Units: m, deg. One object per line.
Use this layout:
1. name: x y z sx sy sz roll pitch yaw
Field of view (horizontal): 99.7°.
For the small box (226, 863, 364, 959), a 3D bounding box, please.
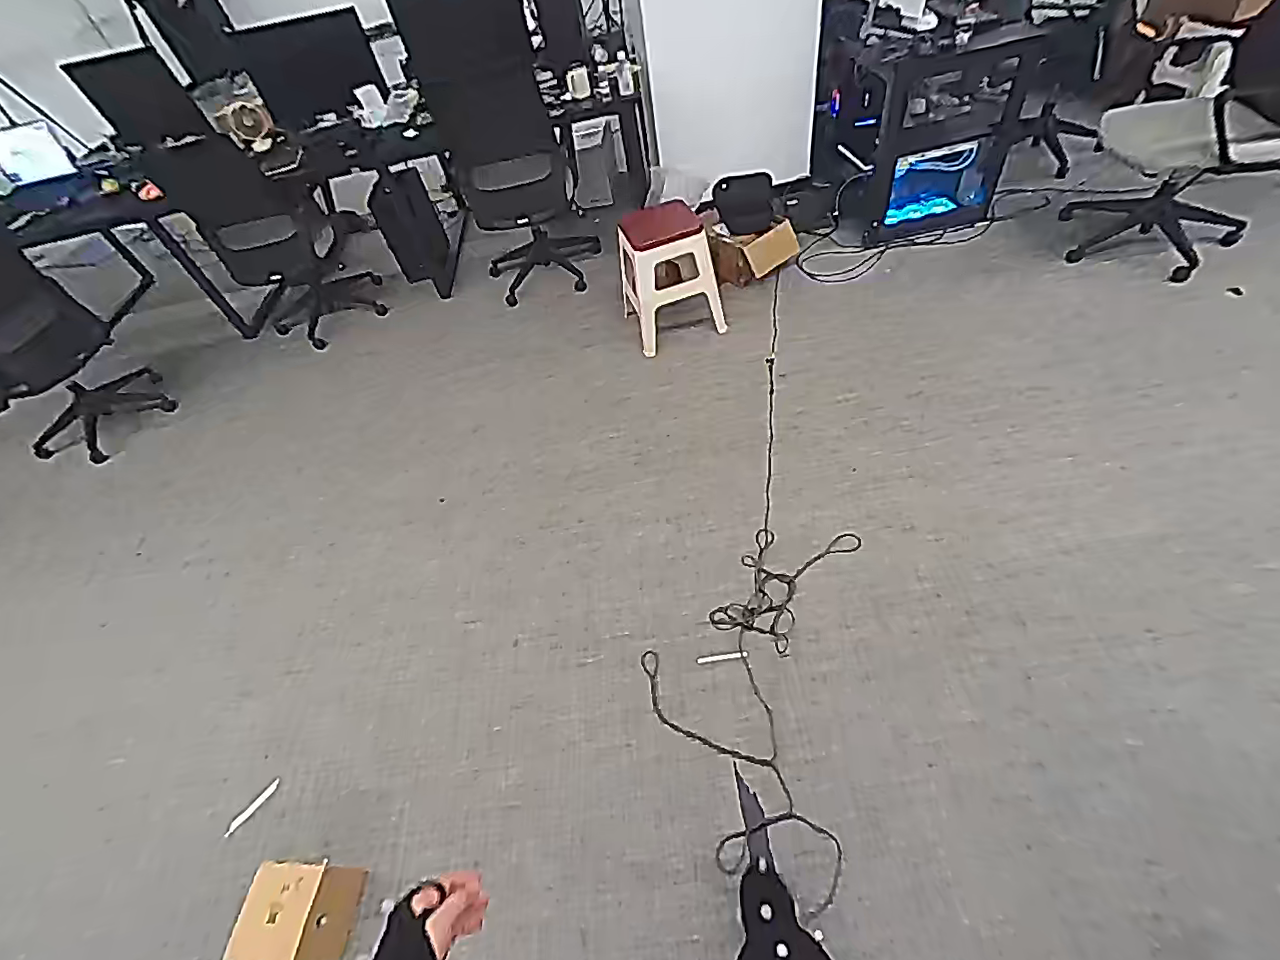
1. small box: -0.754 0.973 1.206 0.168 0.176 0.179 -3 50 9
